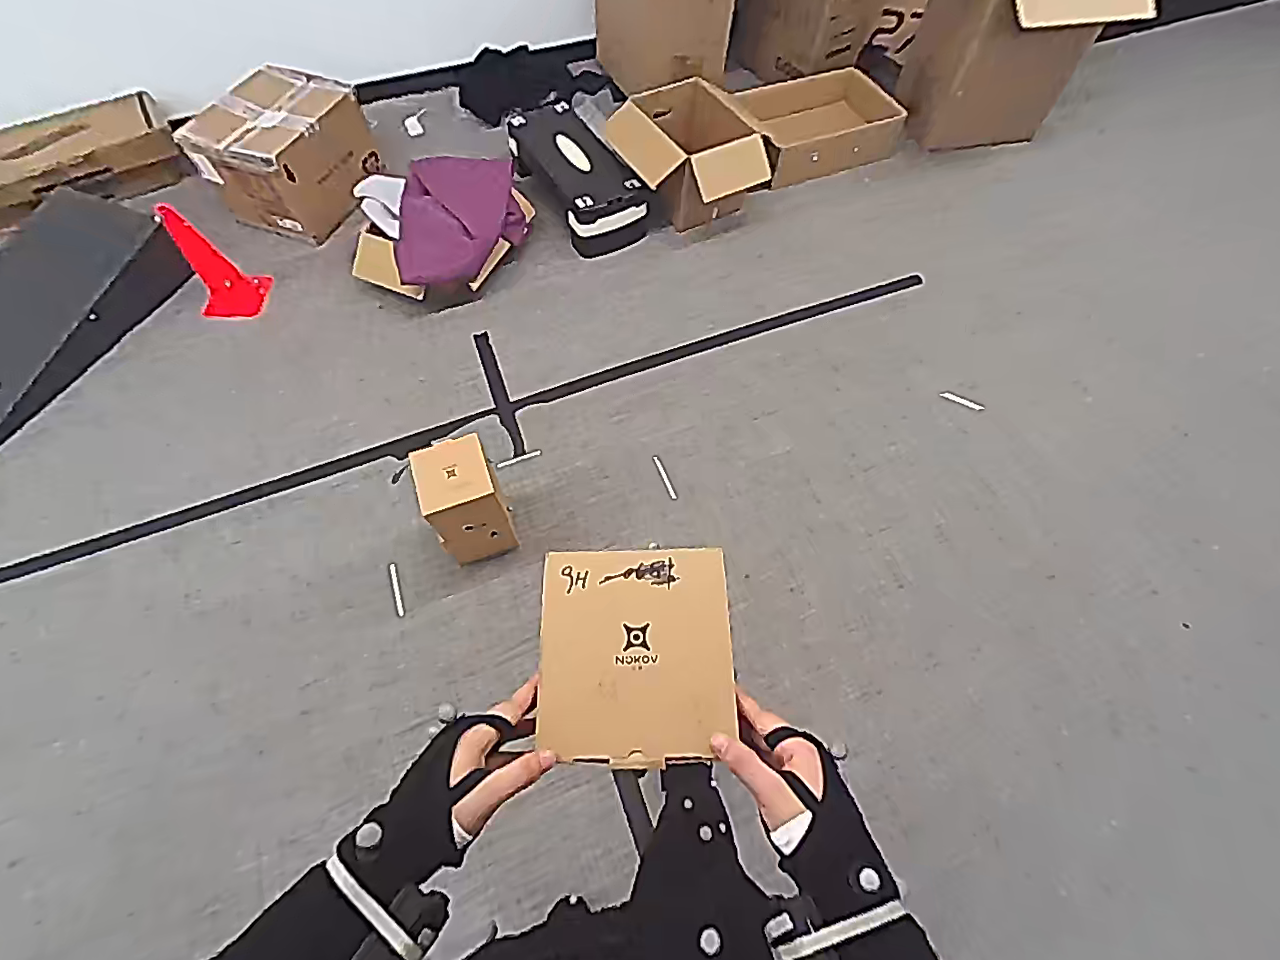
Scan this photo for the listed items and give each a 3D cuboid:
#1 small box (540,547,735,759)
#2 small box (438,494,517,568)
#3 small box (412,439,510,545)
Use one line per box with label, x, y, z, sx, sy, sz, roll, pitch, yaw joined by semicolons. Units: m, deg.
small box;0.000;0.176;0.548;0.168;0.176;0.179;-2;66;1
small box;-0.440;0.116;1.460;0.179;0.176;0.168;-18;64;-10
small box;-0.432;0.034;1.320;0.168;0.176;0.179;-20;65;-10
